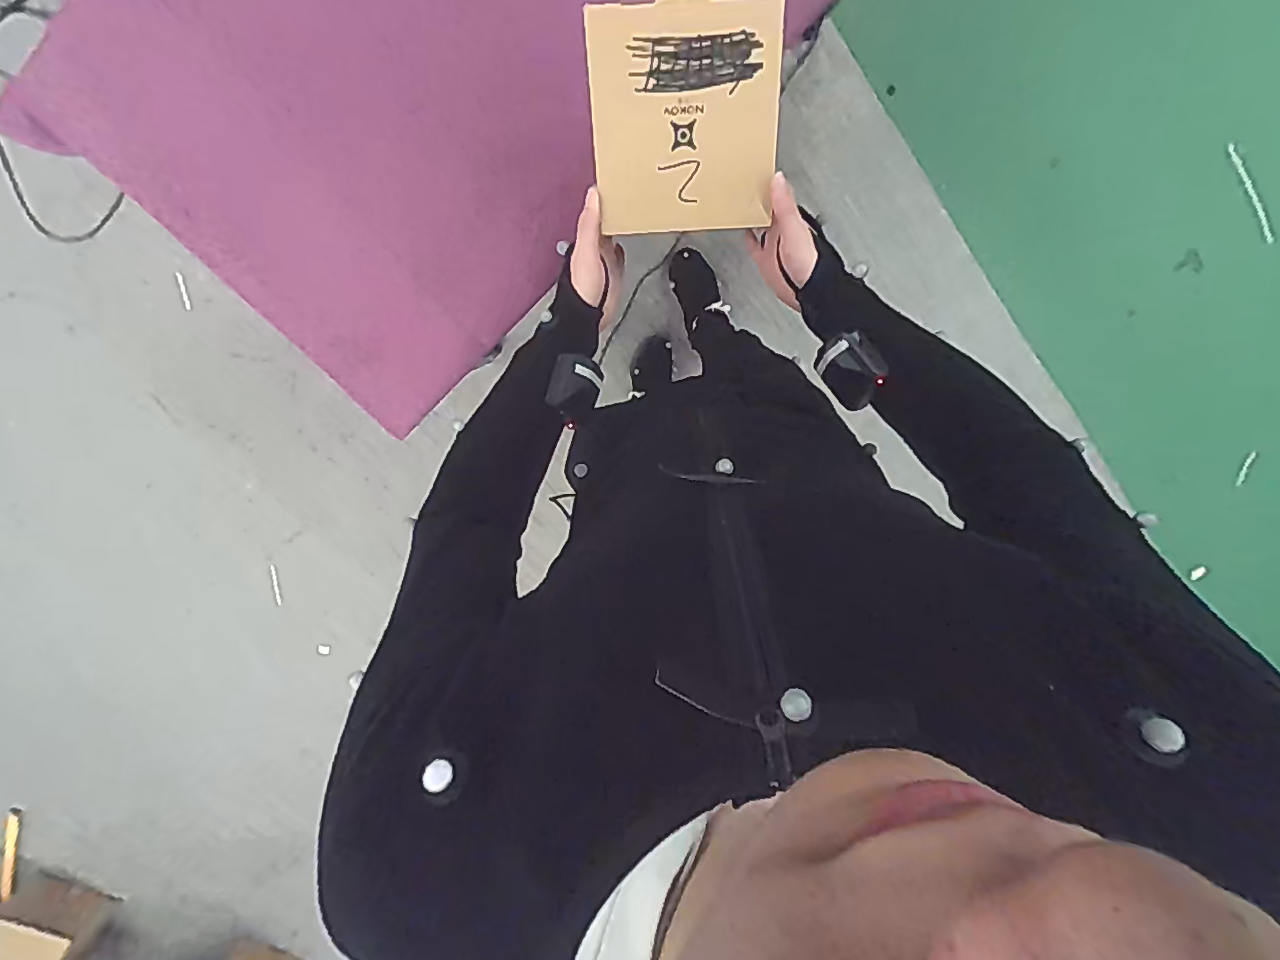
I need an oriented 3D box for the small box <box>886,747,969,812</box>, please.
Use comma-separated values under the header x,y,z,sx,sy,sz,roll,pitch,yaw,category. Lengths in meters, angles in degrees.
x,y,z,sx,sy,sz,roll,pitch,yaw,category
1.010,1.082,1.916,0.168,0.176,0.179,-35,107,9,small box
